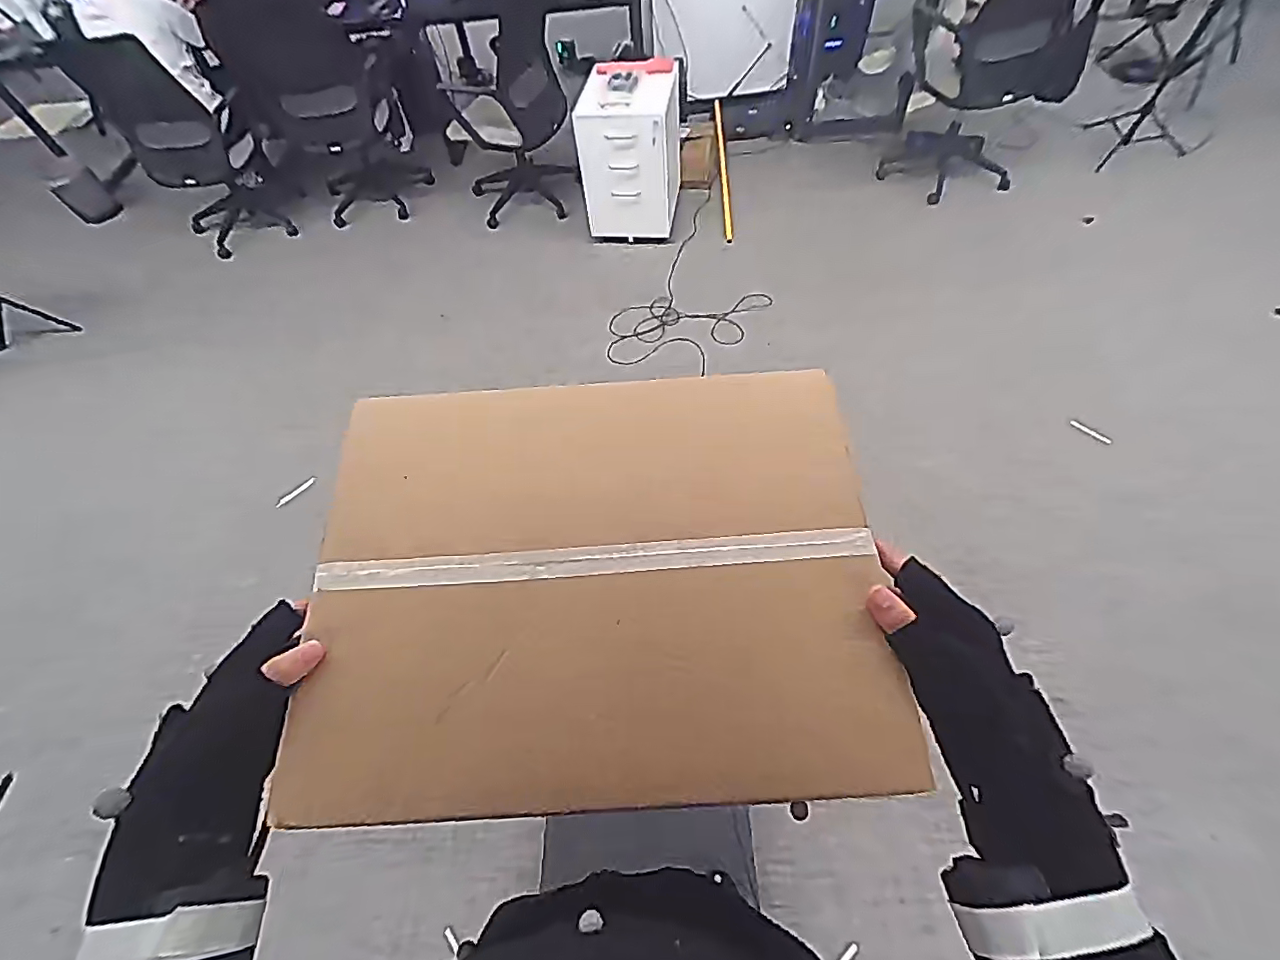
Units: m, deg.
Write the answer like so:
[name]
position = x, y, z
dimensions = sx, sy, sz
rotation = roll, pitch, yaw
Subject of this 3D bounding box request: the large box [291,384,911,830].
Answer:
[large box]
position = -0.028, 0.130, 0.538
dimensions = 0.408, 0.320, 0.320
rotation = -3, 64, 0
